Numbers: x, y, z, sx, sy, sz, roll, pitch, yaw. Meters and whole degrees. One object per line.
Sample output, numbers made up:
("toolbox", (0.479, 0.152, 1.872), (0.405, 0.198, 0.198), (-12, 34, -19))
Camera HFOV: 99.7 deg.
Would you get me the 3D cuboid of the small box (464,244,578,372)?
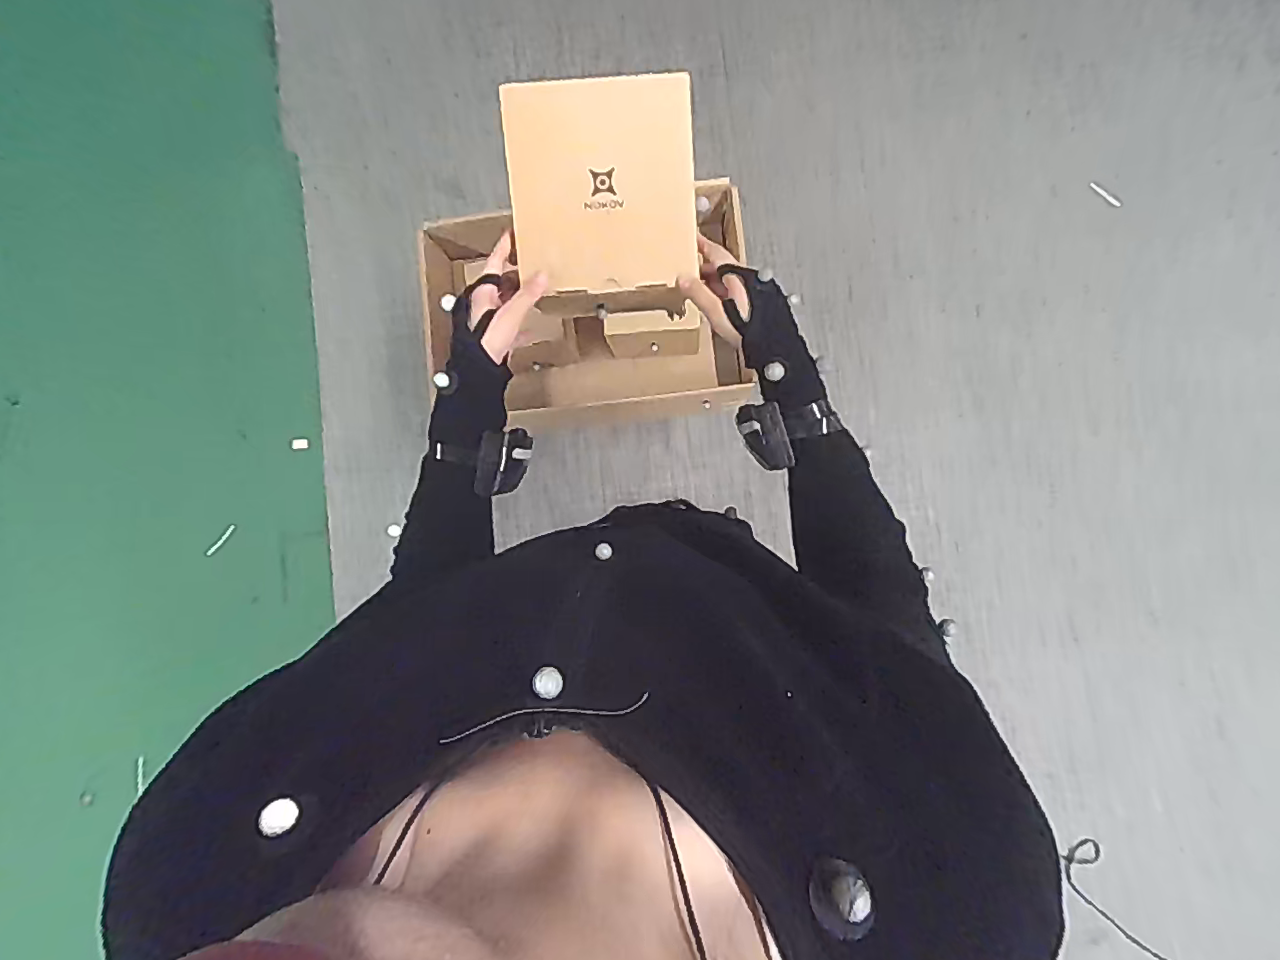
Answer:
("small box", (-0.226, -0.328, 1.059), (0.168, 0.176, 0.179), (-10, 87, 4))
